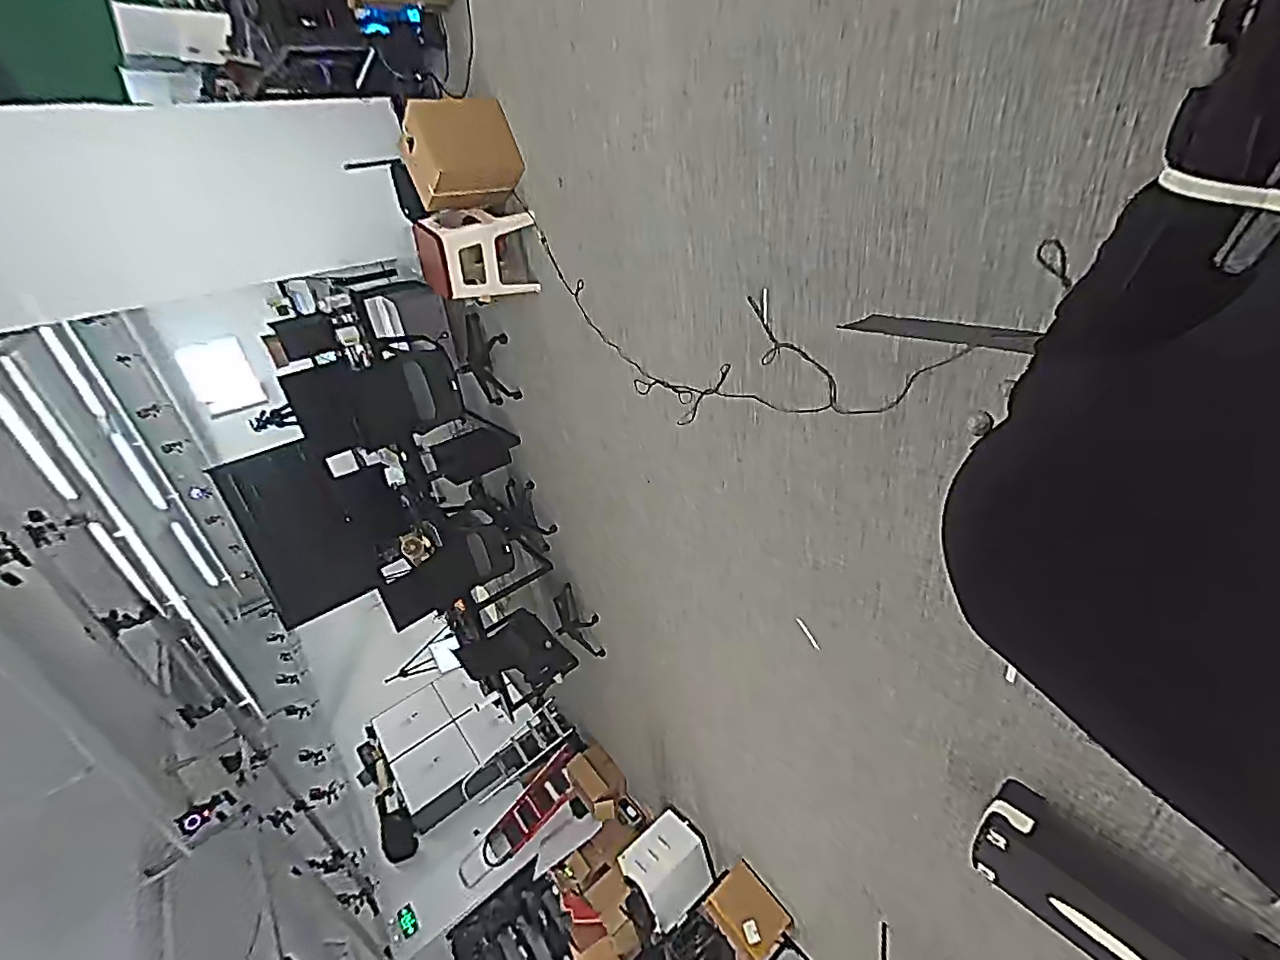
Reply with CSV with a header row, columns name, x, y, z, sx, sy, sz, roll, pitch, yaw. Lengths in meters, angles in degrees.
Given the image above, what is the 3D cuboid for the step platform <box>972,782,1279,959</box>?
name,x,y,z,sx,sy,sz,roll,pitch,yaw
step platform,1.346,1.227,1.542,0.684,0.204,0.286,25,134,45
